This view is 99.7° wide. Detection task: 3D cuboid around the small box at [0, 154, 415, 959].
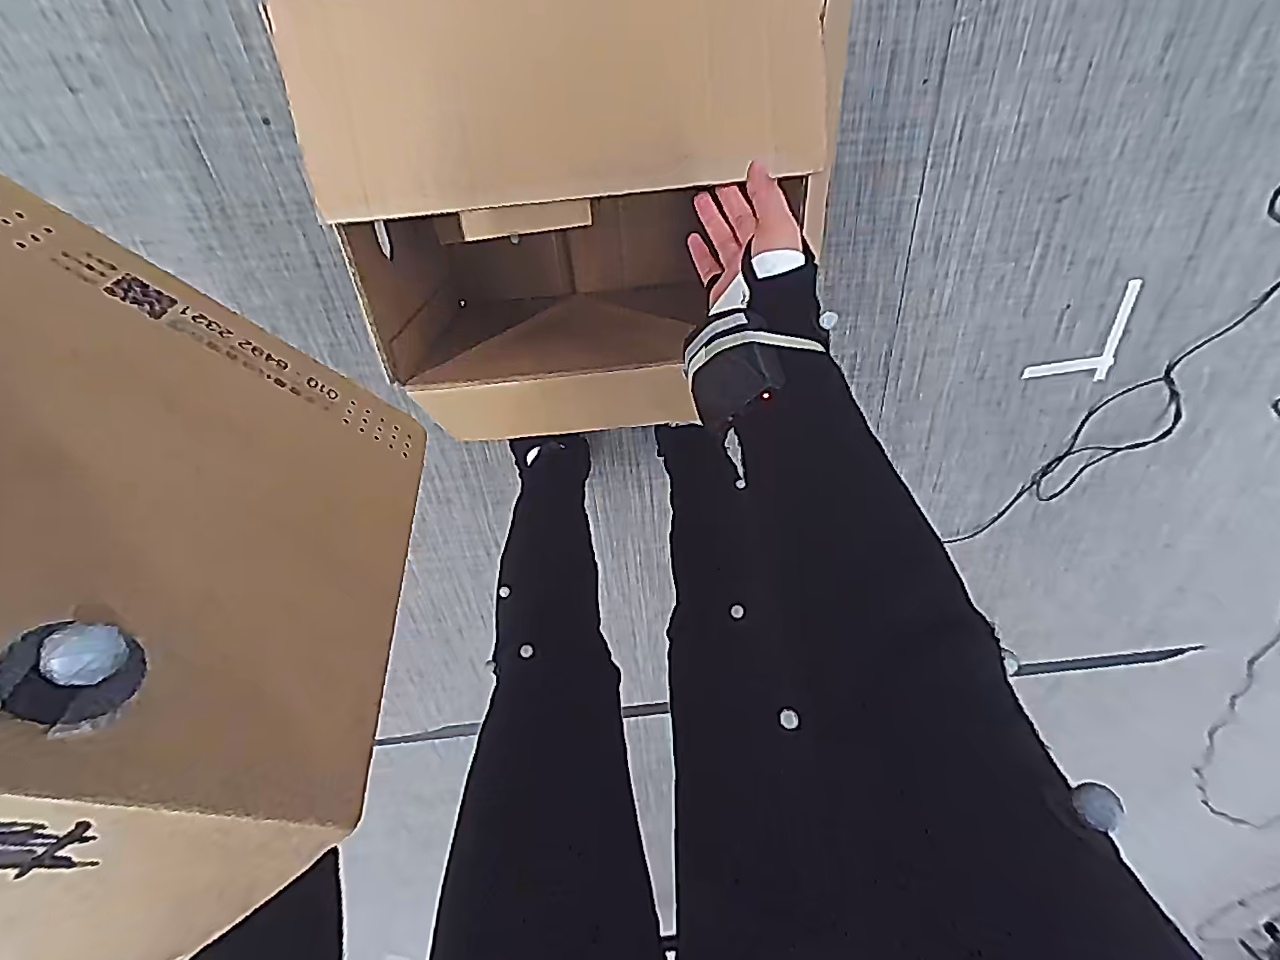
[{"bbox_3d":[-0.192,0.040,0.165,0.179,0.176,0.168,-39,128,20],"label":"small box"}]
